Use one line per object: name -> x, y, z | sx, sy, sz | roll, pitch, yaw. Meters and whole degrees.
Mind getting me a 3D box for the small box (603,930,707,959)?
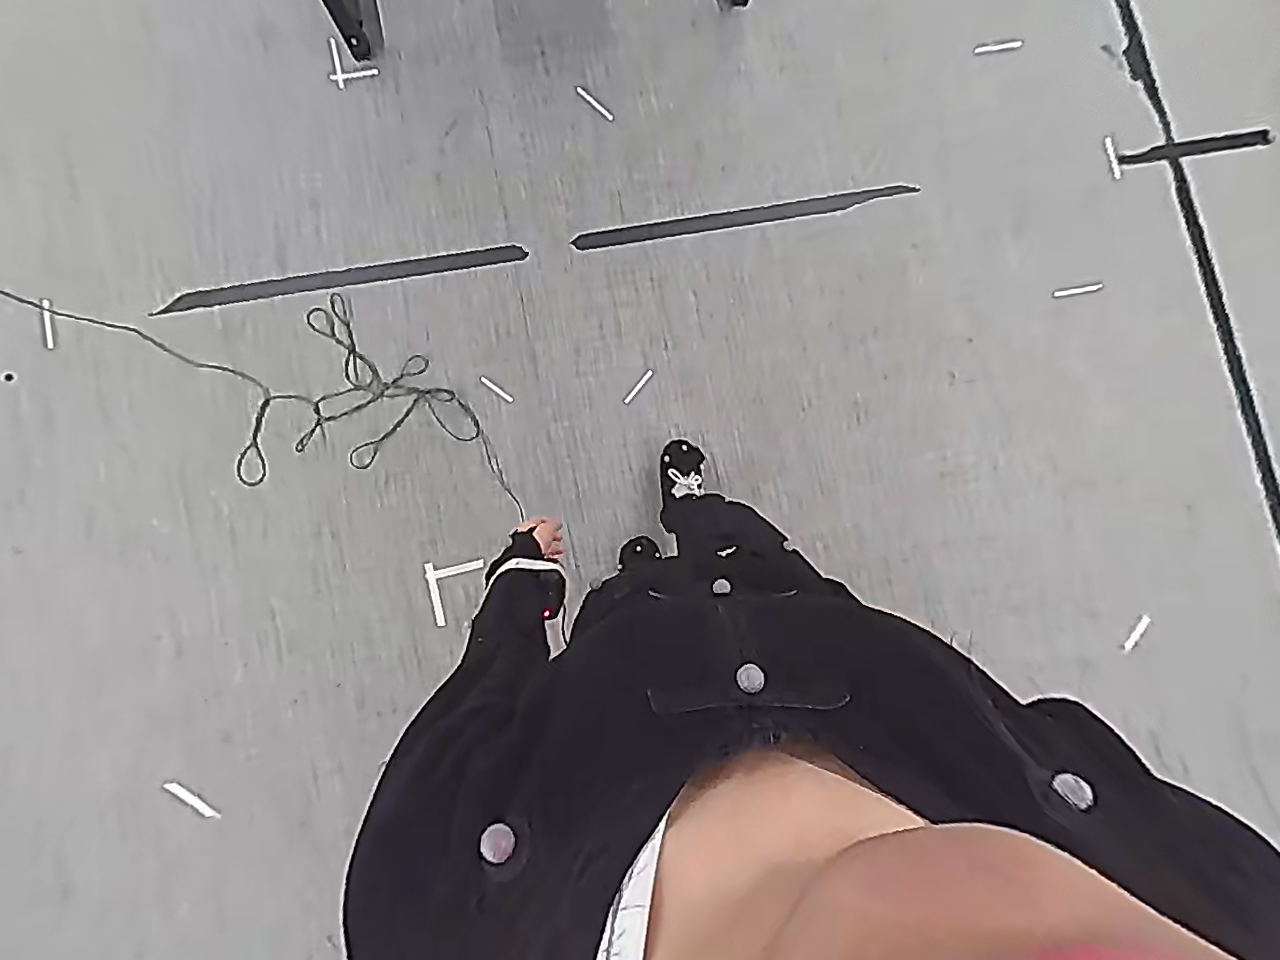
small box -> 0.037, 0.809, 0.774 | 0.168, 0.176, 0.179 | -9, 84, -5
